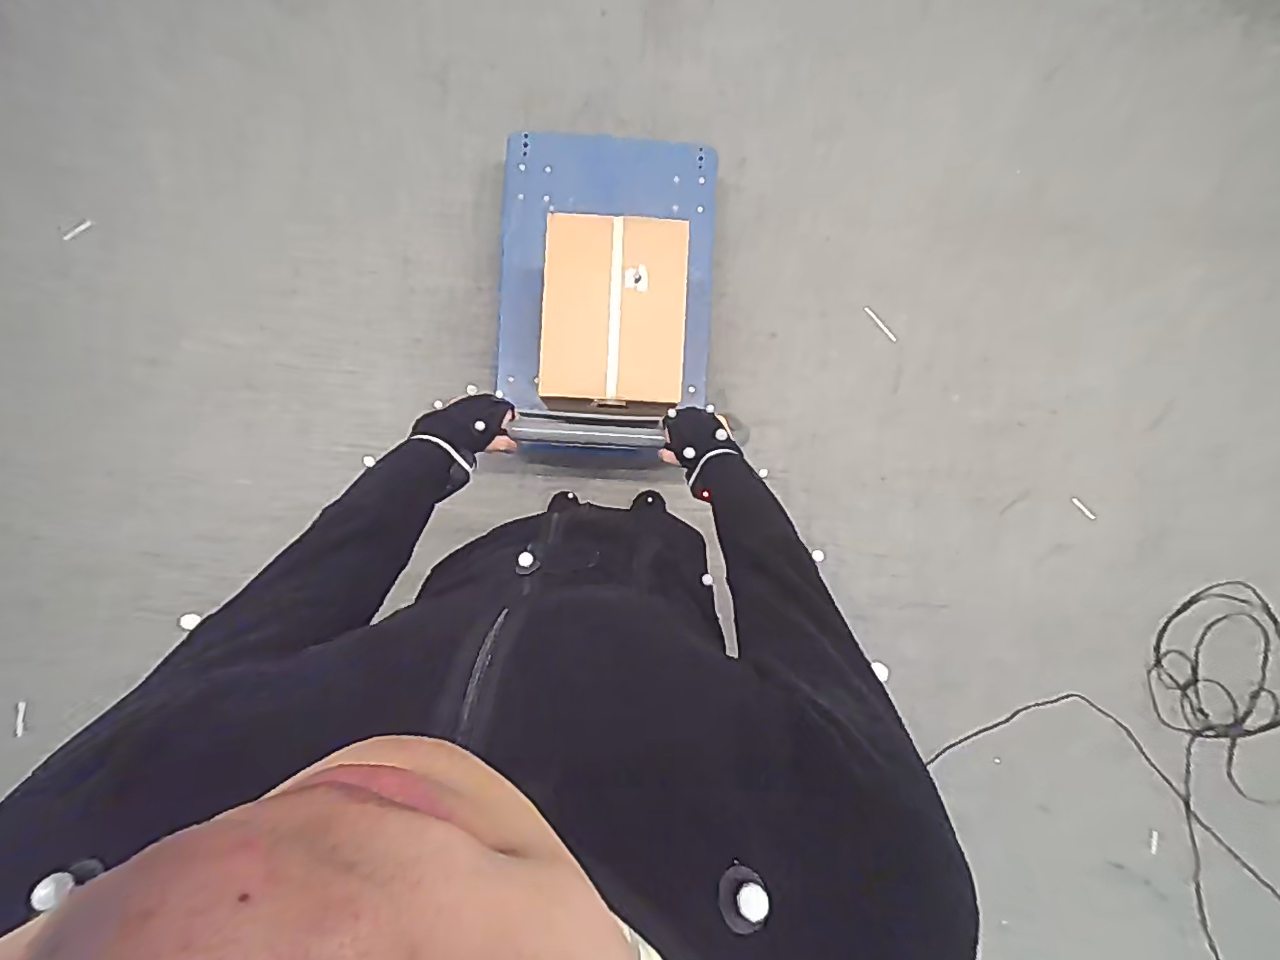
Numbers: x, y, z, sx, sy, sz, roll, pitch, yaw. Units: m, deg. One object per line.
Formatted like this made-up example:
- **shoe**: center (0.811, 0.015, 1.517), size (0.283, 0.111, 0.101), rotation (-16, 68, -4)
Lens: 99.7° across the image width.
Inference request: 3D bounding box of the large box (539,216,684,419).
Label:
- **large box**: center (-0.066, -0.368, 1.326), size (0.320, 0.320, 0.408), rotation (2, 88, -4)
